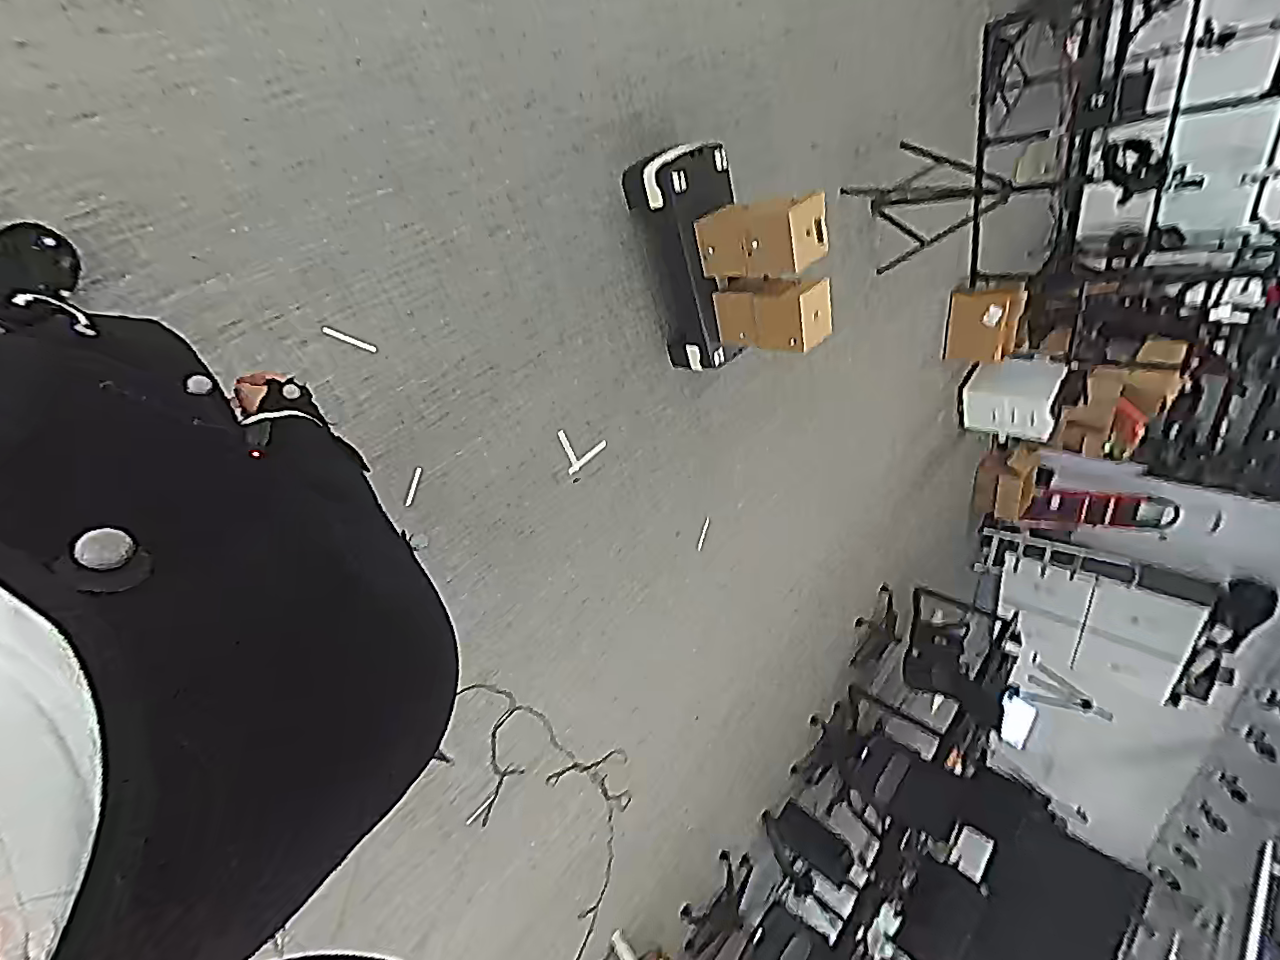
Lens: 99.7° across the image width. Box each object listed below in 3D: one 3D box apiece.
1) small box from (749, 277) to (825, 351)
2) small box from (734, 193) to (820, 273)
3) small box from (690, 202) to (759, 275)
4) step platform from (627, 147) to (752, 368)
[{"bbox_3d":[0.456,-0.517,1.683,0.168,0.176,0.179,-38,128,-29],"label":"small box"},{"bbox_3d":[0.395,-0.707,1.553,0.179,0.176,0.168,-40,129,-28],"label":"small box"},{"bbox_3d":[0.281,-0.743,1.665,0.179,0.176,0.168,-39,128,-29],"label":"small box"},{"bbox_3d":[0.197,-0.730,1.839,0.286,0.204,0.684,-41,129,-28],"label":"step platform"}]
